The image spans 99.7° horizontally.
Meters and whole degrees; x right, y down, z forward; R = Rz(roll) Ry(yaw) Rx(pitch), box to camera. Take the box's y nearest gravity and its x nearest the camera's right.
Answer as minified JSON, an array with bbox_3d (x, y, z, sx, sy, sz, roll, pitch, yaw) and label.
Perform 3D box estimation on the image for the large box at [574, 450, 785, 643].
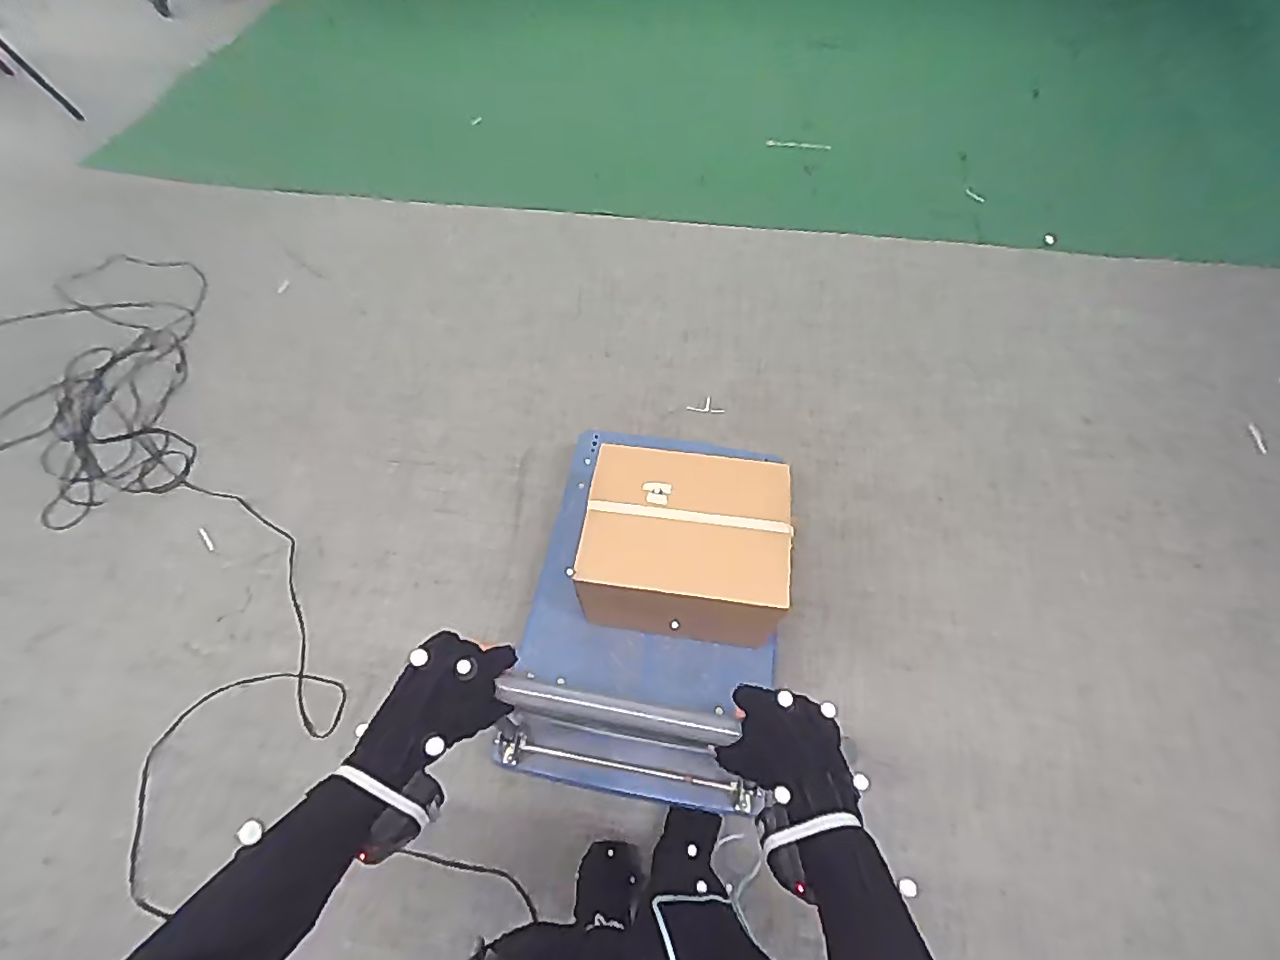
[{"bbox_3d":[0.096,0.157,1.210,0.408,0.320,0.320,6,59,6],"label":"large box"}]
